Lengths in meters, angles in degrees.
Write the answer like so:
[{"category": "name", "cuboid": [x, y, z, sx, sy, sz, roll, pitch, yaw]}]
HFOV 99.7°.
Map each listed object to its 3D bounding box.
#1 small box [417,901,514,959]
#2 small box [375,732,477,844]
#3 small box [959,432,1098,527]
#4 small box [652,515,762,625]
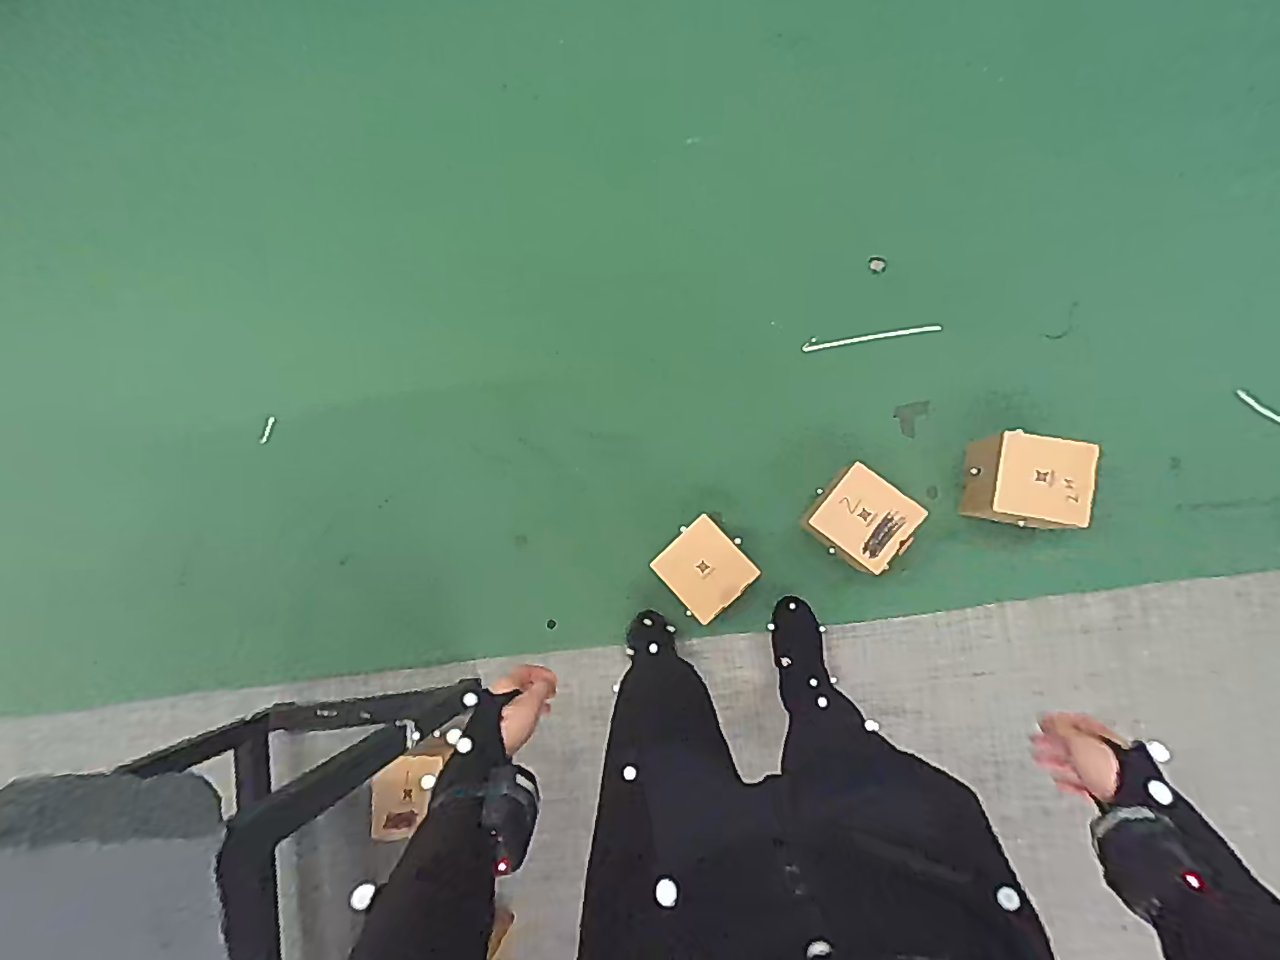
[{"category": "small box", "cuboid": [-0.398, 1.103, 1.213, 0.168, 0.176, 0.179, 11, 88, 10]}, {"category": "small box", "cuboid": [-0.492, 0.711, 1.262, 0.168, 0.176, 0.179, -3, 83, 7]}, {"category": "small box", "cuboid": [0.807, 0.005, 1.143, 0.179, 0.176, 0.168, 11, 87, 8]}, {"category": "small box", "cuboid": [0.150, 0.199, 1.221, 0.168, 0.176, 0.179, -44, 81, 2]}]
